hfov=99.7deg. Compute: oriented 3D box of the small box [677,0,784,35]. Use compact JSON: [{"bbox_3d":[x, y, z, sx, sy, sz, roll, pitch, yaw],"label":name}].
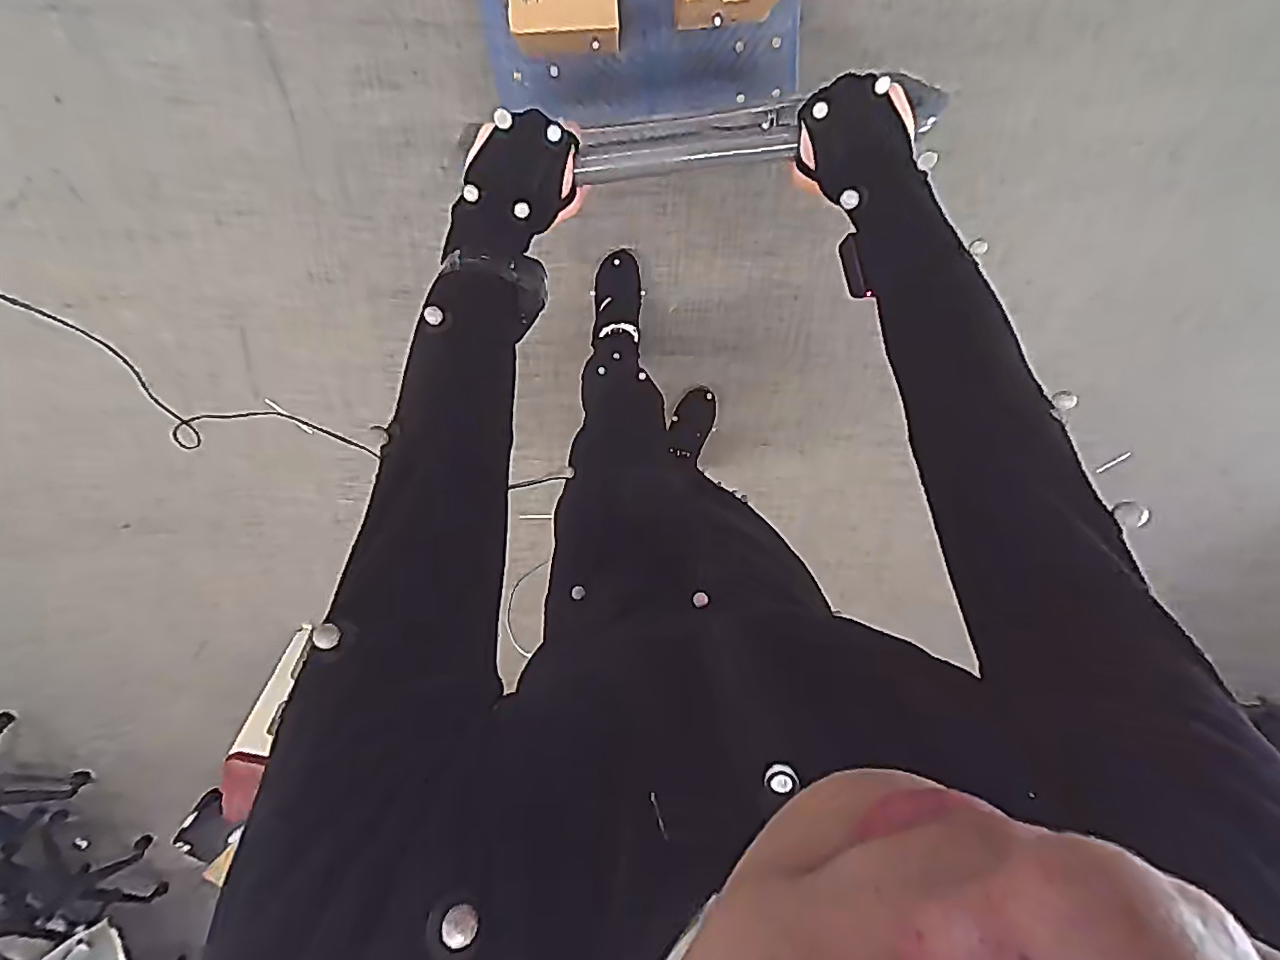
[{"bbox_3d":[0.147,-0.881,0.901,0.168,0.176,0.179,-5,117,1],"label":"small box"}]
